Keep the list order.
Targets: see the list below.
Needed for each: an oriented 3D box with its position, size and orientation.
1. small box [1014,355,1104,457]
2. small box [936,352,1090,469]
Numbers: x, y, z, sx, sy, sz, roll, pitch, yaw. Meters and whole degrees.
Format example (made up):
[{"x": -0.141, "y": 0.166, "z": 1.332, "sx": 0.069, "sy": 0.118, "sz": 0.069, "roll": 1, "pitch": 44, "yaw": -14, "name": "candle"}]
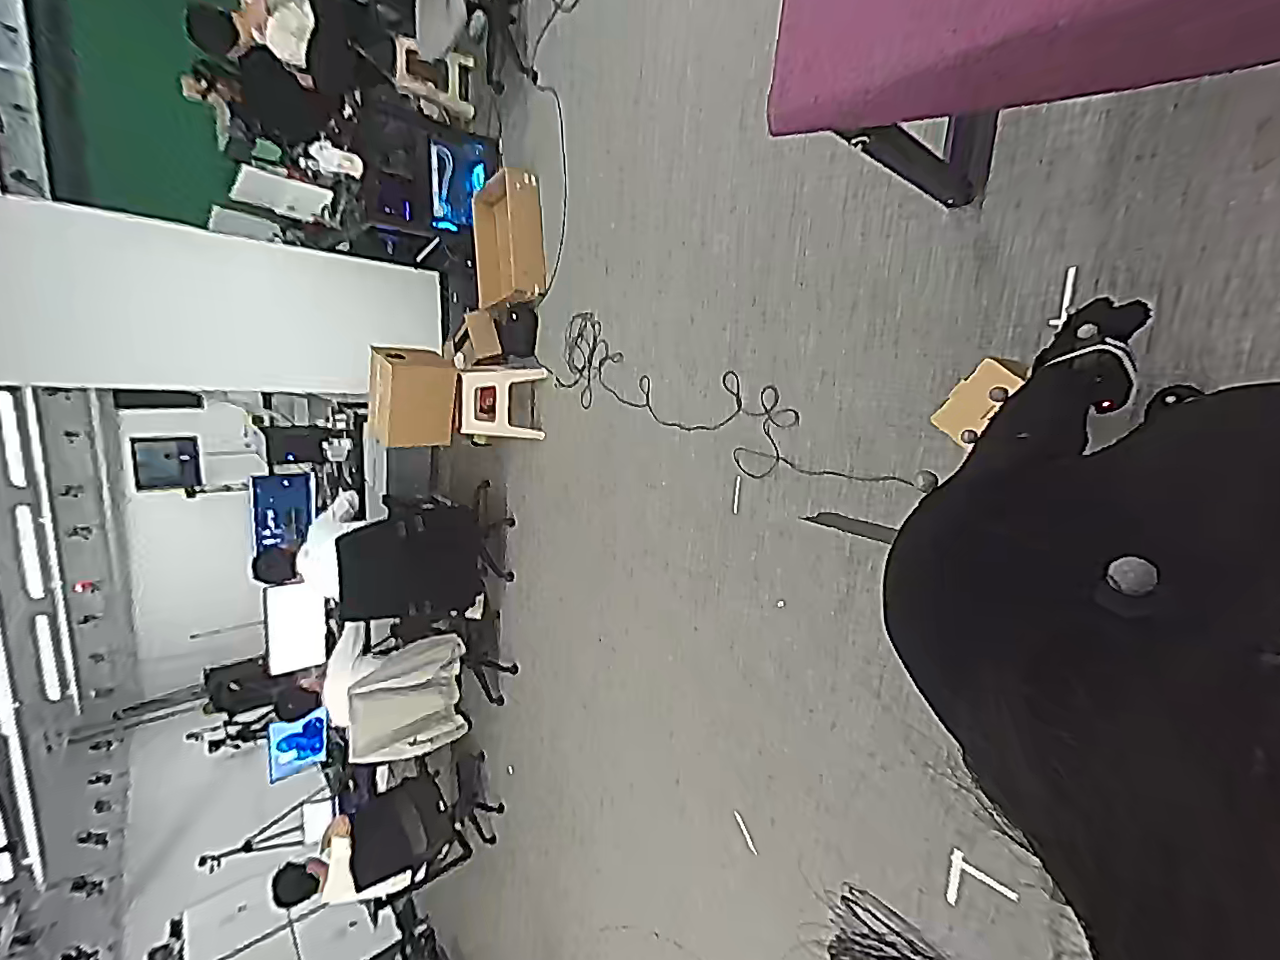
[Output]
[{"x": 0.884, "y": -0.160, "z": 1.216, "sx": 0.179, "sy": 0.176, "sz": 0.168, "roll": 51, "pitch": 130, "yaw": 31, "name": "small box"}, {"x": 0.763, "y": -0.140, "z": 1.108, "sx": 0.179, "sy": 0.176, "sz": 0.168, "roll": 53, "pitch": 131, "yaw": 31, "name": "small box"}]
